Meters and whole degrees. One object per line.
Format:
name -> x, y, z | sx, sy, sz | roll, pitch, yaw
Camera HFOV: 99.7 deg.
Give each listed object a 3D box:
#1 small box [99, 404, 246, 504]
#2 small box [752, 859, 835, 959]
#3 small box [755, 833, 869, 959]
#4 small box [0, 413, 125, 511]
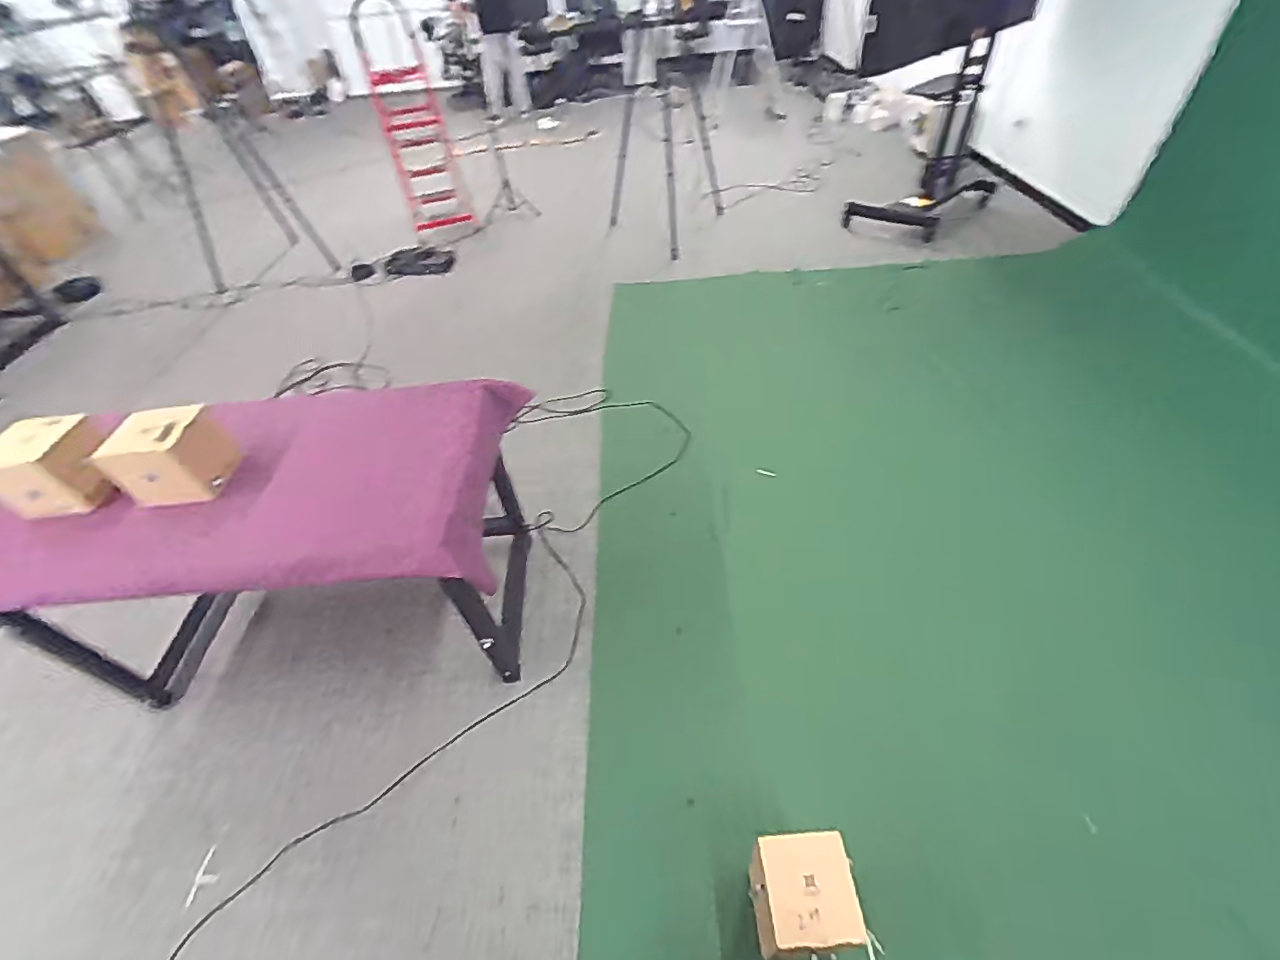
small box -> -1.111, -0.061, 1.306 | 0.179, 0.176, 0.168 | -6, 46, 2
small box -> 0.345, 0.941, 1.187 | 0.179, 0.176, 0.168 | -4, 45, 1
small box -> 0.328, 0.825, 1.072 | 0.168, 0.176, 0.179 | -5, 46, 2
small box -> -1.401, -0.037, 1.315 | 0.168, 0.176, 0.179 | -5, 47, 0
